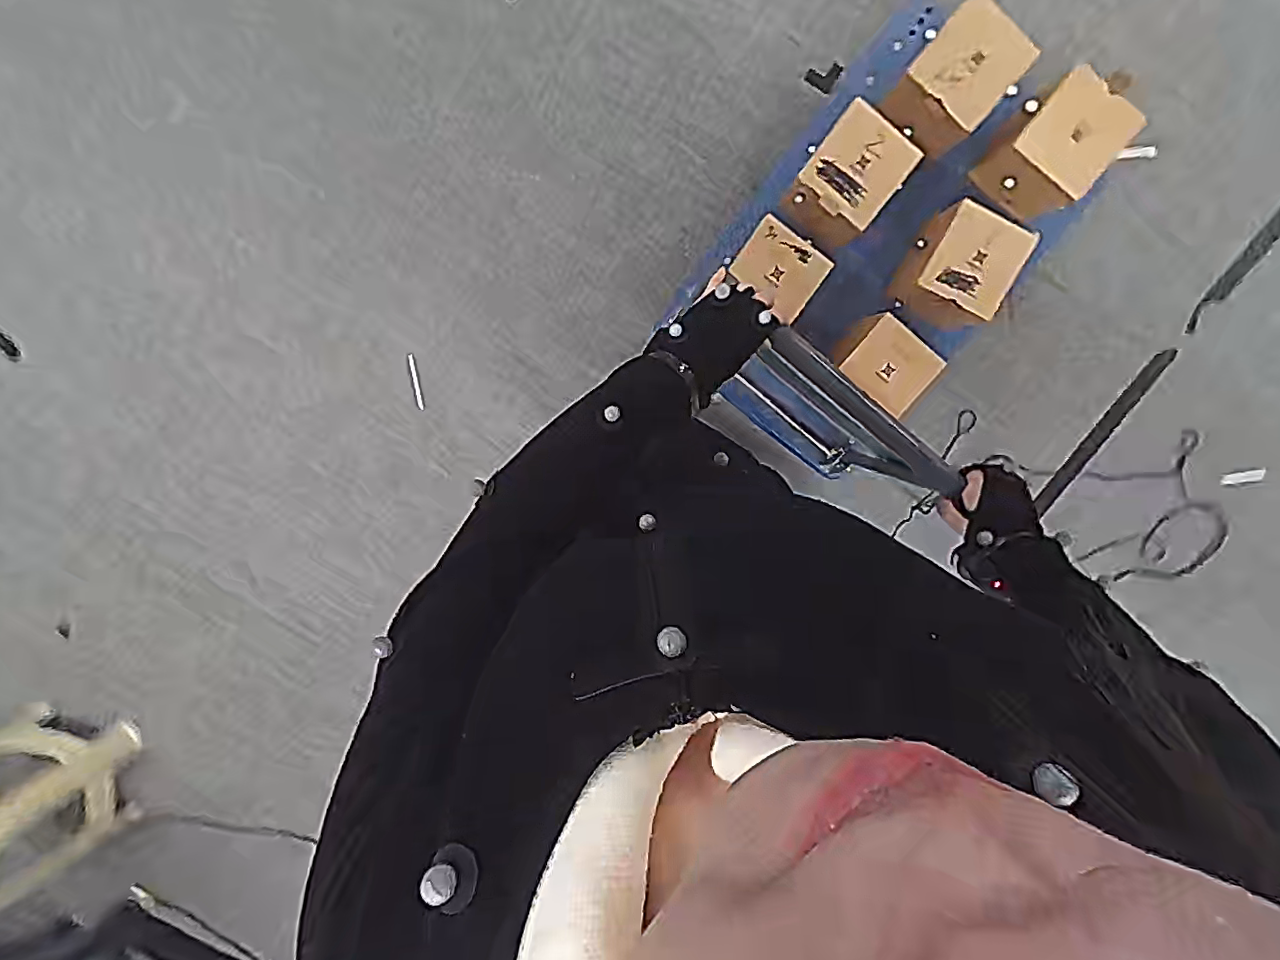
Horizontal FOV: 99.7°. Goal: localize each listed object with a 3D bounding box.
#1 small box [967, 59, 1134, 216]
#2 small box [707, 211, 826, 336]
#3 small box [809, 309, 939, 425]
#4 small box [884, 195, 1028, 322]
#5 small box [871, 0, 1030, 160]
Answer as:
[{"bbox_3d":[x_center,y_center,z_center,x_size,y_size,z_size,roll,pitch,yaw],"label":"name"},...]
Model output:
[{"bbox_3d":[0.798,-0.665,1.080,0.168,0.176,0.179,35,100,-5],"label":"small box"},{"bbox_3d":[0.255,-0.421,1.141,0.168,0.176,0.179,35,100,-6],"label":"small box"},{"bbox_3d":[0.491,-0.242,1.173,0.168,0.176,0.179,39,99,-6],"label":"small box"},{"bbox_3d":[0.641,-0.447,1.127,0.168,0.176,0.179,26,100,-4],"label":"small box"},{"bbox_3d":[0.593,-0.779,1.059,0.168,0.176,0.179,40,100,-6],"label":"small box"}]
